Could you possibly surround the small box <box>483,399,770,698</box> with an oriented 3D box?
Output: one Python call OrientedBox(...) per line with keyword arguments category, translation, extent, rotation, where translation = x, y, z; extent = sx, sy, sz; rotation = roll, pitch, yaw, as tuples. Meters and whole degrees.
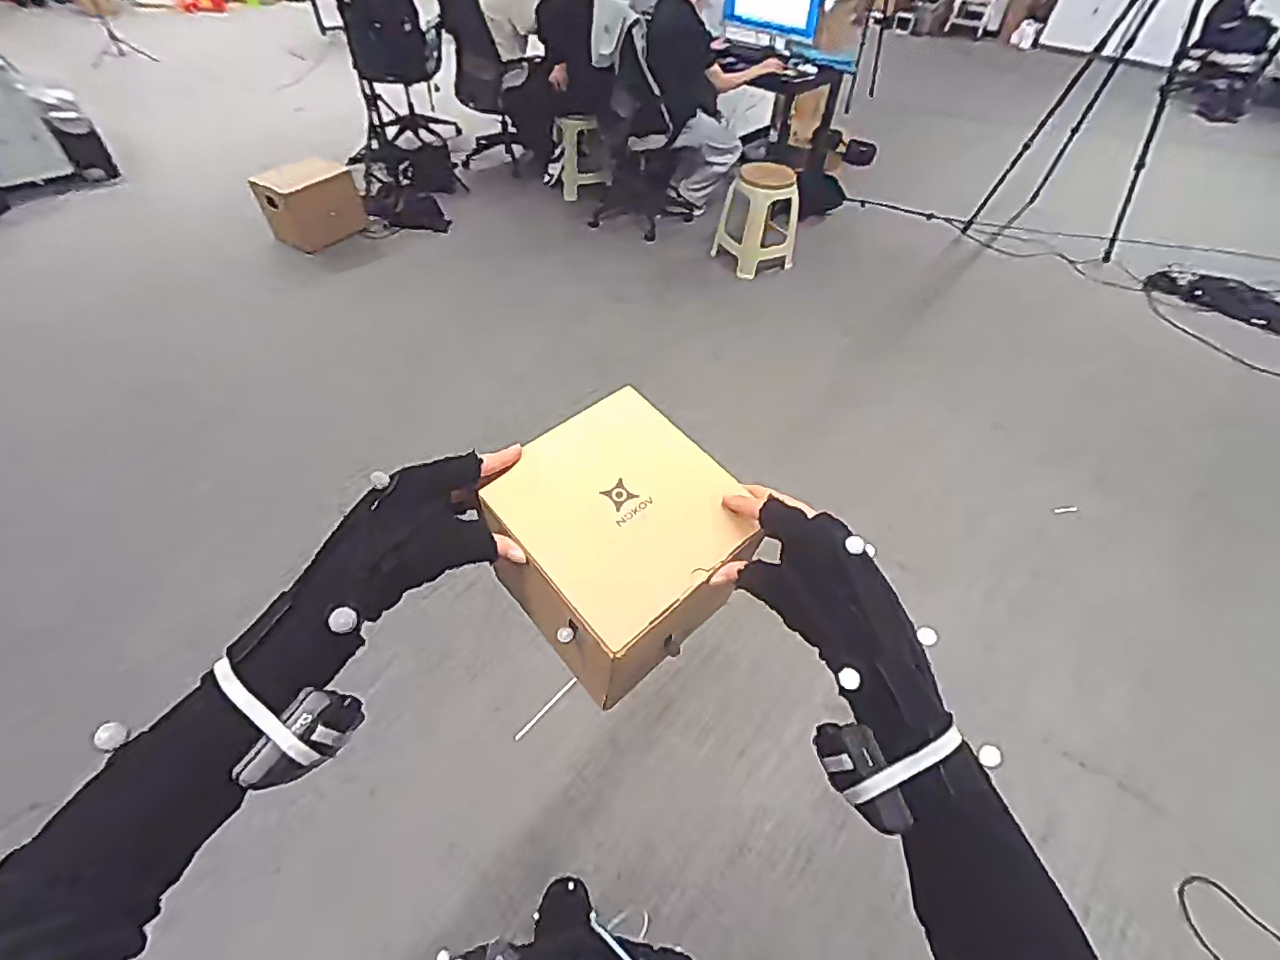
OrientedBox(category="small box", translation=(-0.022, 0.066, 0.492), extent=(0.168, 0.176, 0.179), rotation=(-33, 67, -27))
